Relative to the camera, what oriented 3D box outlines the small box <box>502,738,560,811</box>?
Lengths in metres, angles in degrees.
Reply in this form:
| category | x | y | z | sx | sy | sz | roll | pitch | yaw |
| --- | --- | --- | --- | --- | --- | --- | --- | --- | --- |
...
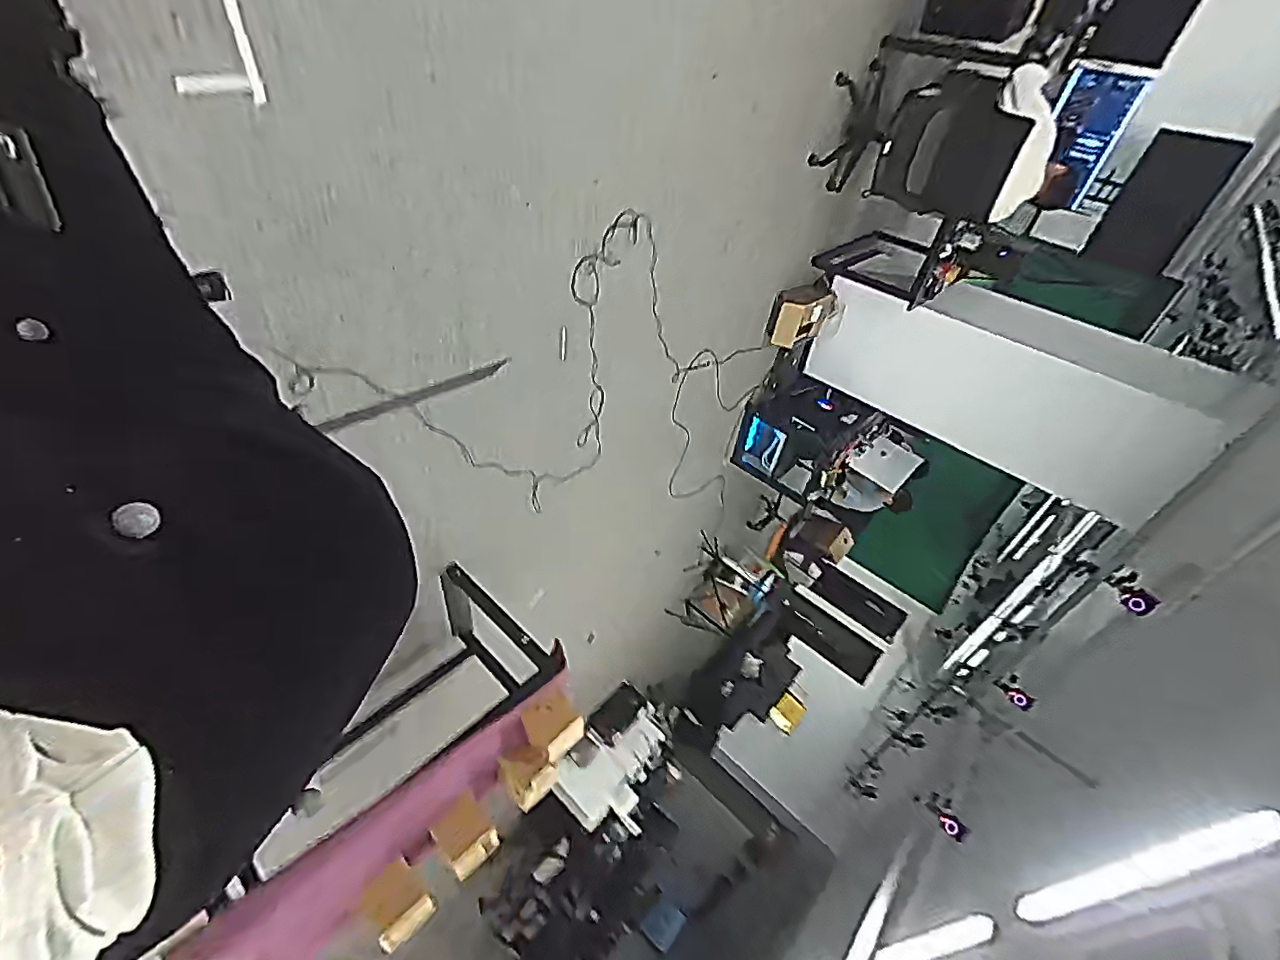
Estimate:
| category | x | y | z | sx | sy | sz | roll | pitch | yaw |
| --- | --- | --- | --- | --- | --- | --- | --- | --- | --- |
| small box | -0.446 | 1.186 | 2.198 | 0.168 | 0.176 | 0.179 | -28 | 142 | -42 |

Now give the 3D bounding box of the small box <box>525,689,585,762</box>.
| category | x | y | z | sx | sy | sz | roll | pitch | yaw |
| --- | --- | --- | --- | --- | --- | --- | --- | --- | --- |
| small box | -0.334 | 0.961 | 2.126 | 0.168 | 0.176 | 0.179 | -34 | 146 | -33 |
